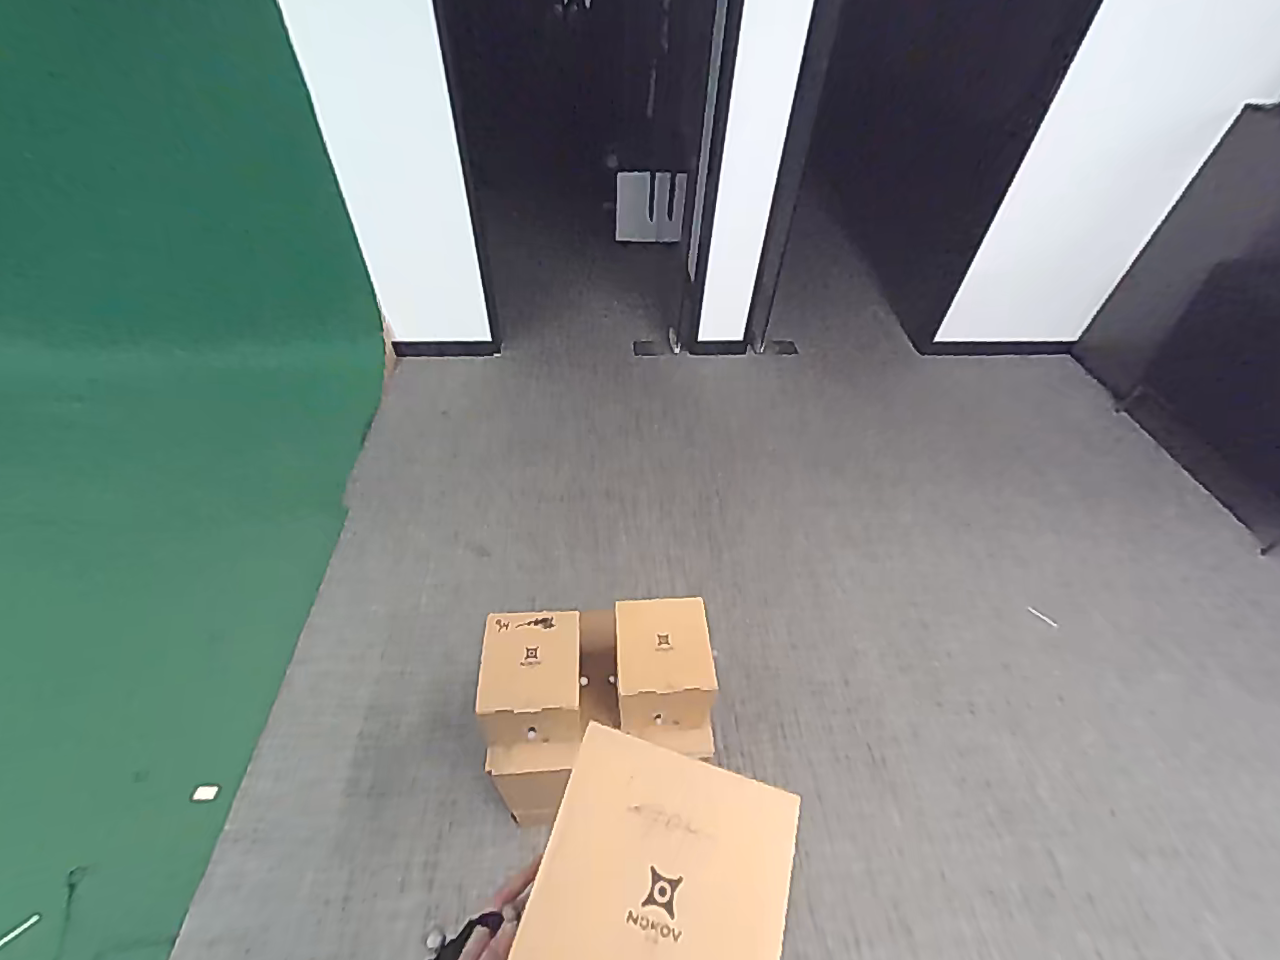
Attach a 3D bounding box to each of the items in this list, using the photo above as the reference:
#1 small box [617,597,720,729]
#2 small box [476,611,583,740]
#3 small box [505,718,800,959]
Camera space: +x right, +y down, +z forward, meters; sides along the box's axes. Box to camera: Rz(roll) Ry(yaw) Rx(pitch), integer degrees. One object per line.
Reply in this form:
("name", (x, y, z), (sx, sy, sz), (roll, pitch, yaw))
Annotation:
("small box", (0.043, 0.338, 0.998), (0.168, 0.176, 0.179), (-2, 47, -4))
("small box", (-0.187, 0.355, 0.969), (0.168, 0.176, 0.179), (0, 49, -5))
("small box", (0.005, 0.314, 0.423), (0.168, 0.176, 0.179), (19, 58, 4))
